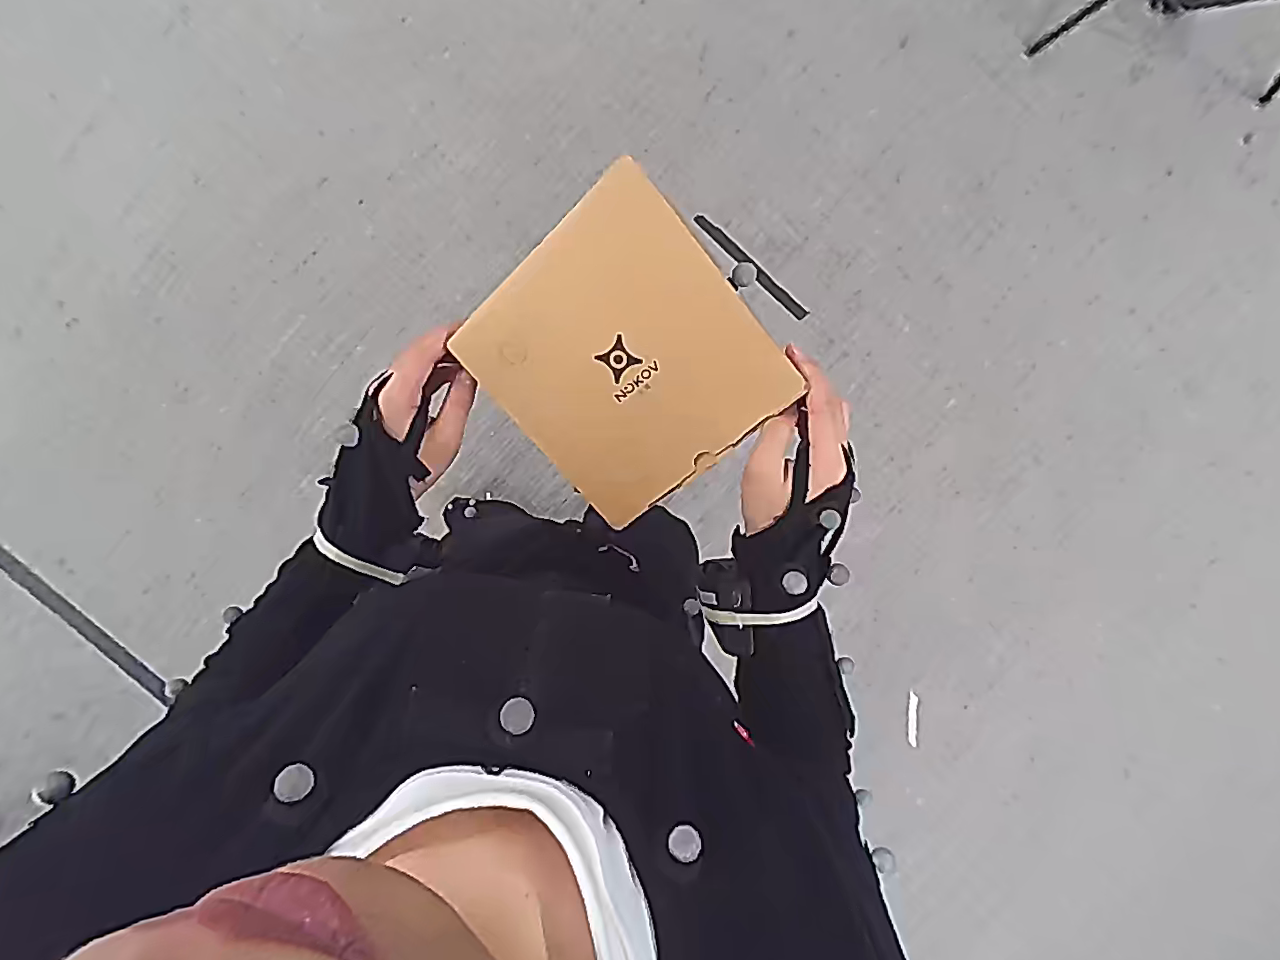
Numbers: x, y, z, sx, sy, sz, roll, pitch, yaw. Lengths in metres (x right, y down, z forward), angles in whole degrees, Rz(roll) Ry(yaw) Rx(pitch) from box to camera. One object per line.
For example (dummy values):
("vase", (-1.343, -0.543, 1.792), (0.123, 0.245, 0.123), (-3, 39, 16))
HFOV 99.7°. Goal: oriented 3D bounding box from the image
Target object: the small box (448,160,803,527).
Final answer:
("small box", (-0.004, -0.101, 0.421), (0.168, 0.176, 0.179), (-38, 103, 19))
